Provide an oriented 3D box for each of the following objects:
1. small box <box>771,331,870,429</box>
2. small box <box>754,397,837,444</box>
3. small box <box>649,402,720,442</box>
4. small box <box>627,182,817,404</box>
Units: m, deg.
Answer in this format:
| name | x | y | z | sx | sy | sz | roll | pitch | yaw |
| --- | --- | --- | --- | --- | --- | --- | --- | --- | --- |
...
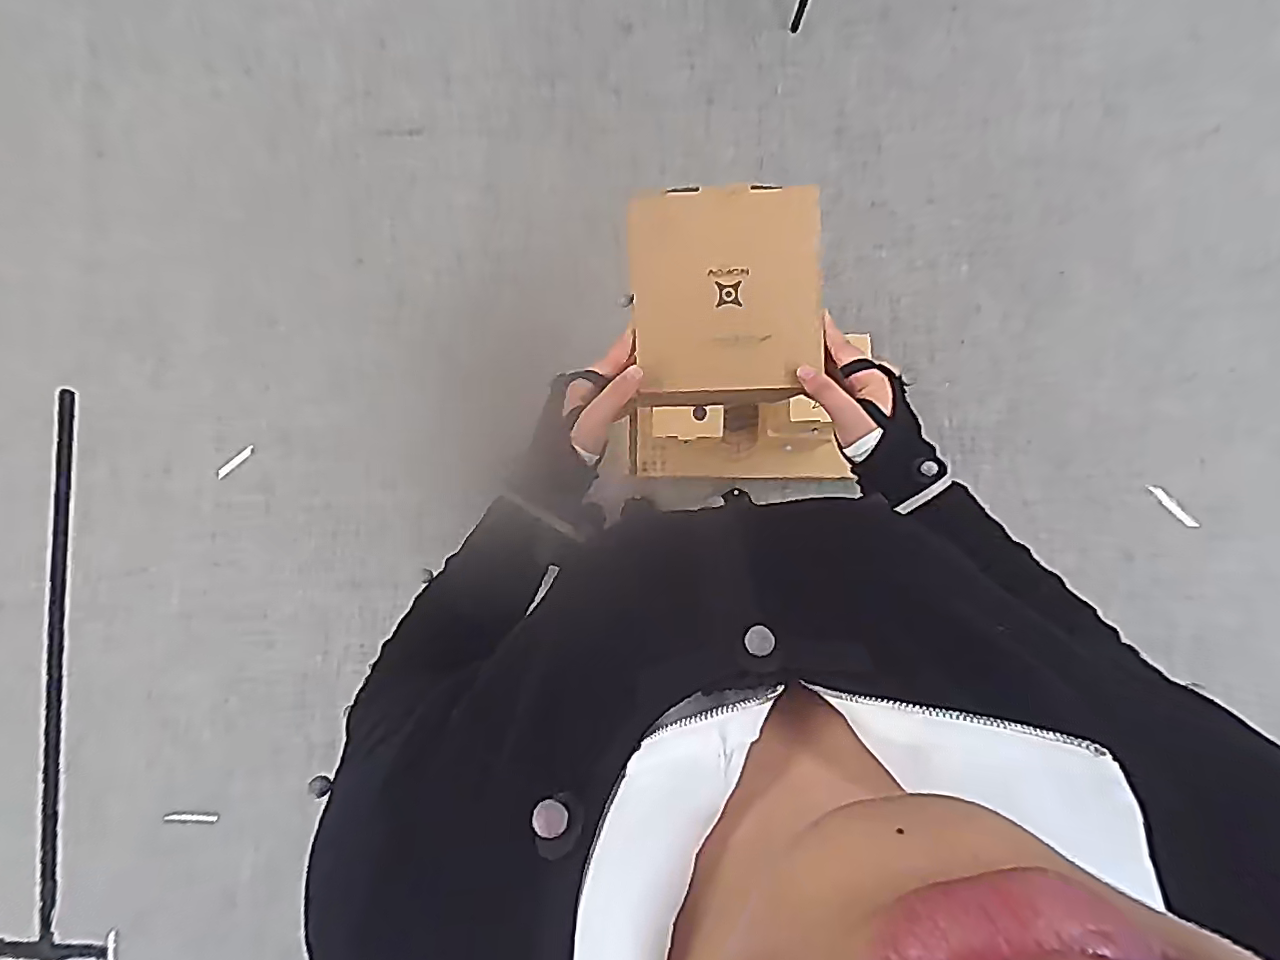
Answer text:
| name | x | y | z | sx | sy | sz | roll | pitch | yaw |
| --- | --- | --- | --- | --- | --- | --- | --- | --- | --- |
| small box | 0.377 | -0.208 | 1.159 | 0.168 | 0.176 | 0.179 | -1 | 88 | 3 |
| small box | 0.378 | -0.187 | 1.324 | 0.168 | 0.176 | 0.179 | 4 | 89 | 3 |
| small box | 0.110 | -0.188 | 1.333 | 0.168 | 0.176 | 0.179 | 1 | 89 | 3 |
| small box | 0.070 | -0.174 | 0.550 | 0.168 | 0.176 | 0.179 | -2 | 94 | -1 |
